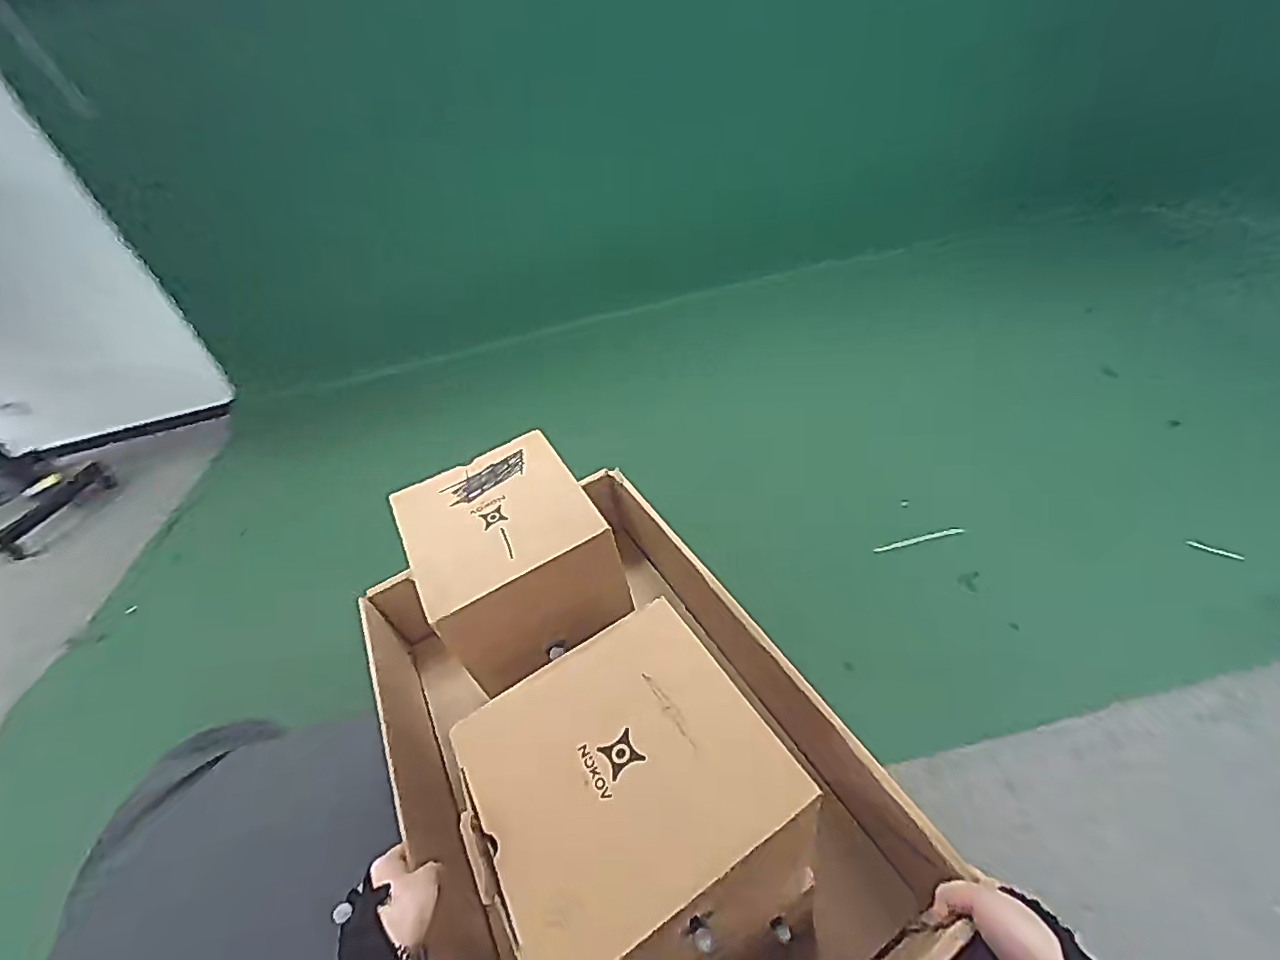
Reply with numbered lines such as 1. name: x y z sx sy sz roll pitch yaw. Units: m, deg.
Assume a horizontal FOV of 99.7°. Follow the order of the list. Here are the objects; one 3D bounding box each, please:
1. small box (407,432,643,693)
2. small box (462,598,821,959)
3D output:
1. small box: -0.113 0.086 0.559 0.168 0.176 0.179 -27 46 -14
2. small box: 0.005 0.227 0.384 0.179 0.176 0.168 -27 44 -16
